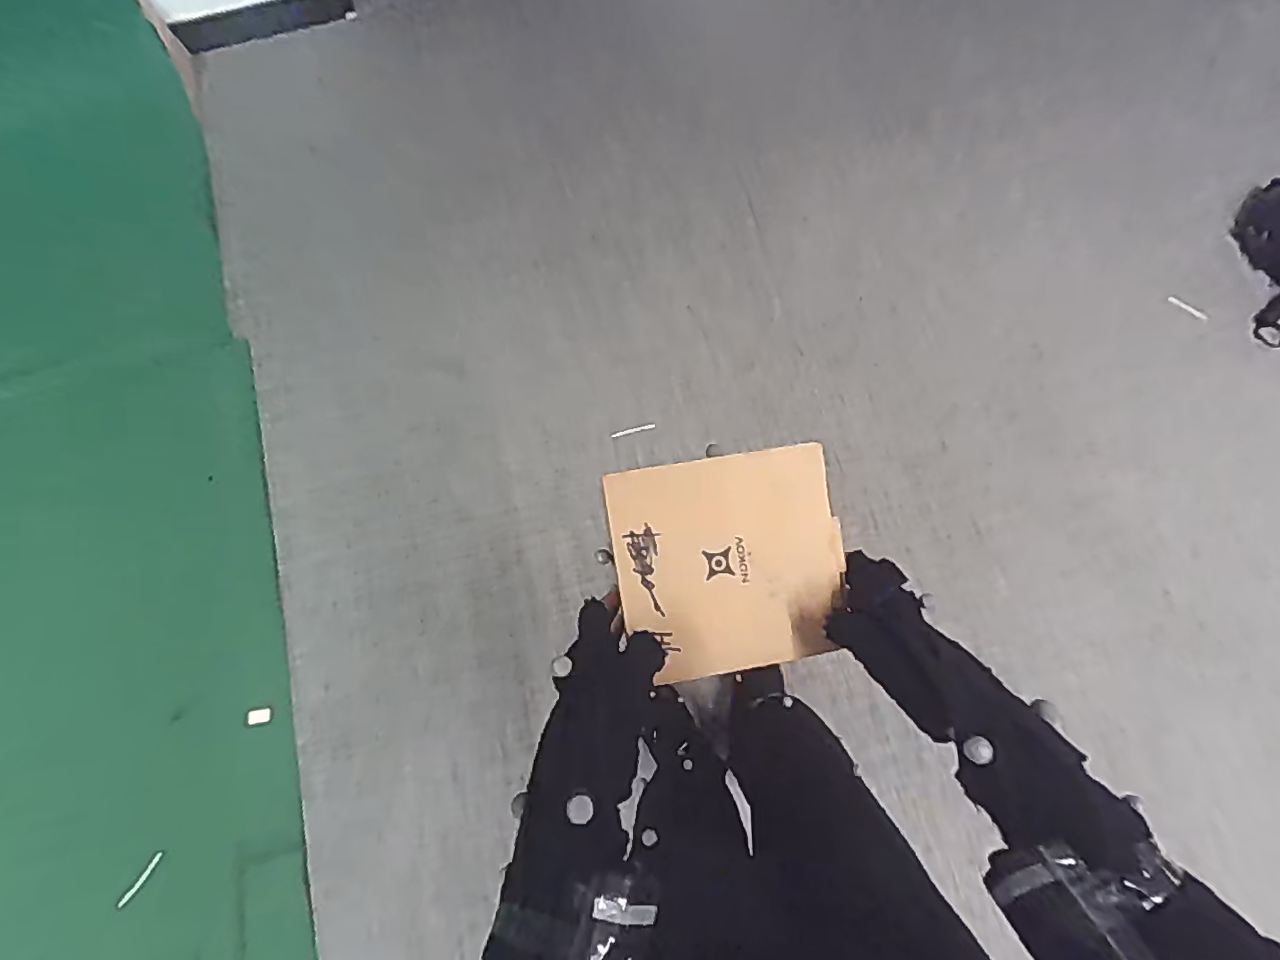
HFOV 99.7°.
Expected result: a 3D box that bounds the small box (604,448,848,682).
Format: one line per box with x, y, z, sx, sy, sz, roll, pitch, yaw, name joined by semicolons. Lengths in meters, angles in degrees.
0.064;0.067;0.507;0.179;0.176;0.168;-9;88;-5;small box
